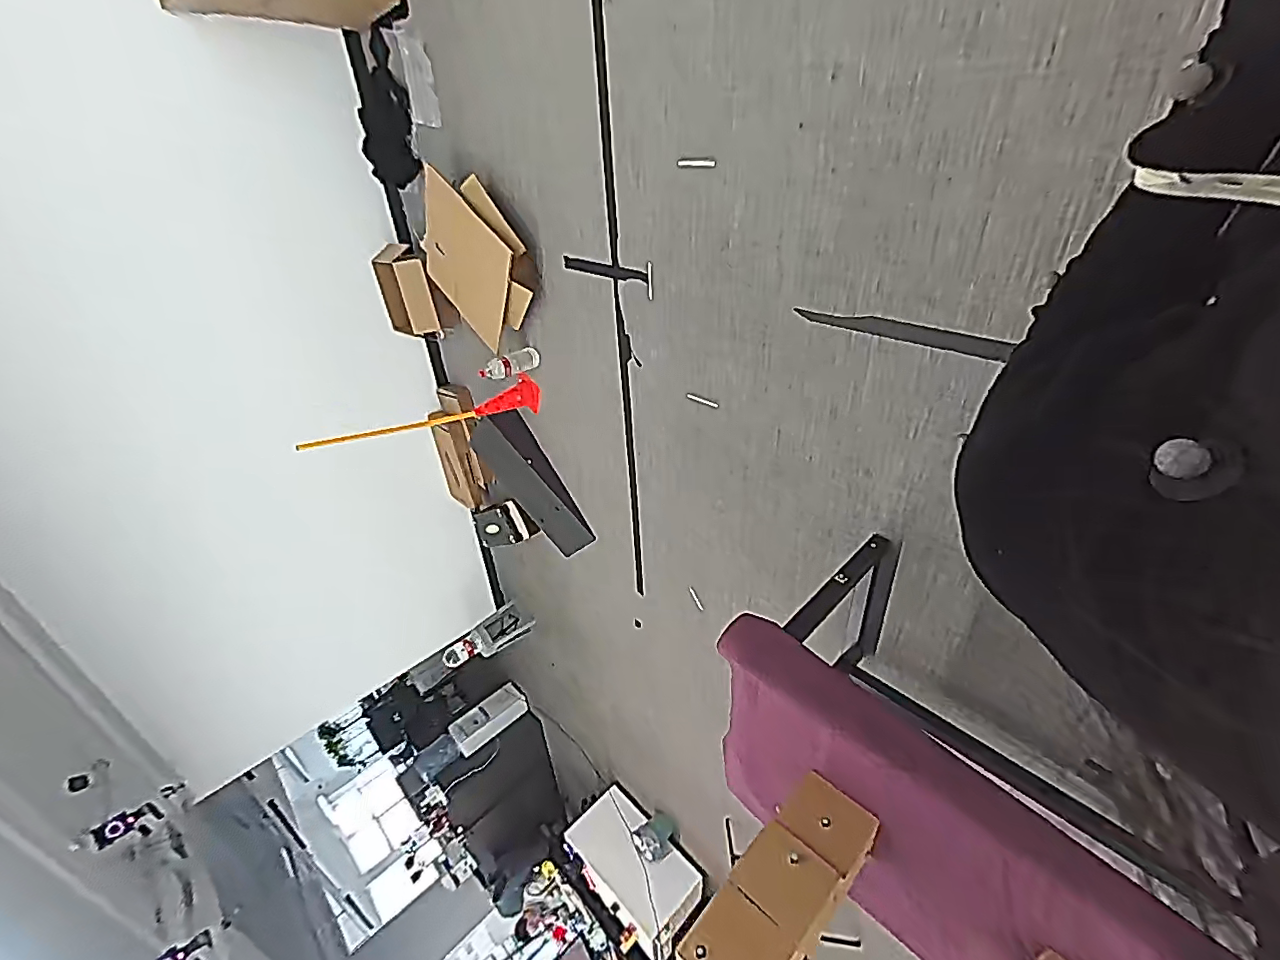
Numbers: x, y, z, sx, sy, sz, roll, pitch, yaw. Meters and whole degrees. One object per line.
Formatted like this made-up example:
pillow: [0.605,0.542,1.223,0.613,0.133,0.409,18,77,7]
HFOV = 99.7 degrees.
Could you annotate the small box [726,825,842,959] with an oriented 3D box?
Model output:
small box: [0.306,0.886,1.161,0.179,0.176,0.168,23,131,41]

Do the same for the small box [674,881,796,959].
small box: [0.191,0.961,1.072,0.179,0.176,0.168,23,131,41]

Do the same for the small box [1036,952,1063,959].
small box: [0.762,0.999,0.956,0.168,0.176,0.179,28,135,38]
